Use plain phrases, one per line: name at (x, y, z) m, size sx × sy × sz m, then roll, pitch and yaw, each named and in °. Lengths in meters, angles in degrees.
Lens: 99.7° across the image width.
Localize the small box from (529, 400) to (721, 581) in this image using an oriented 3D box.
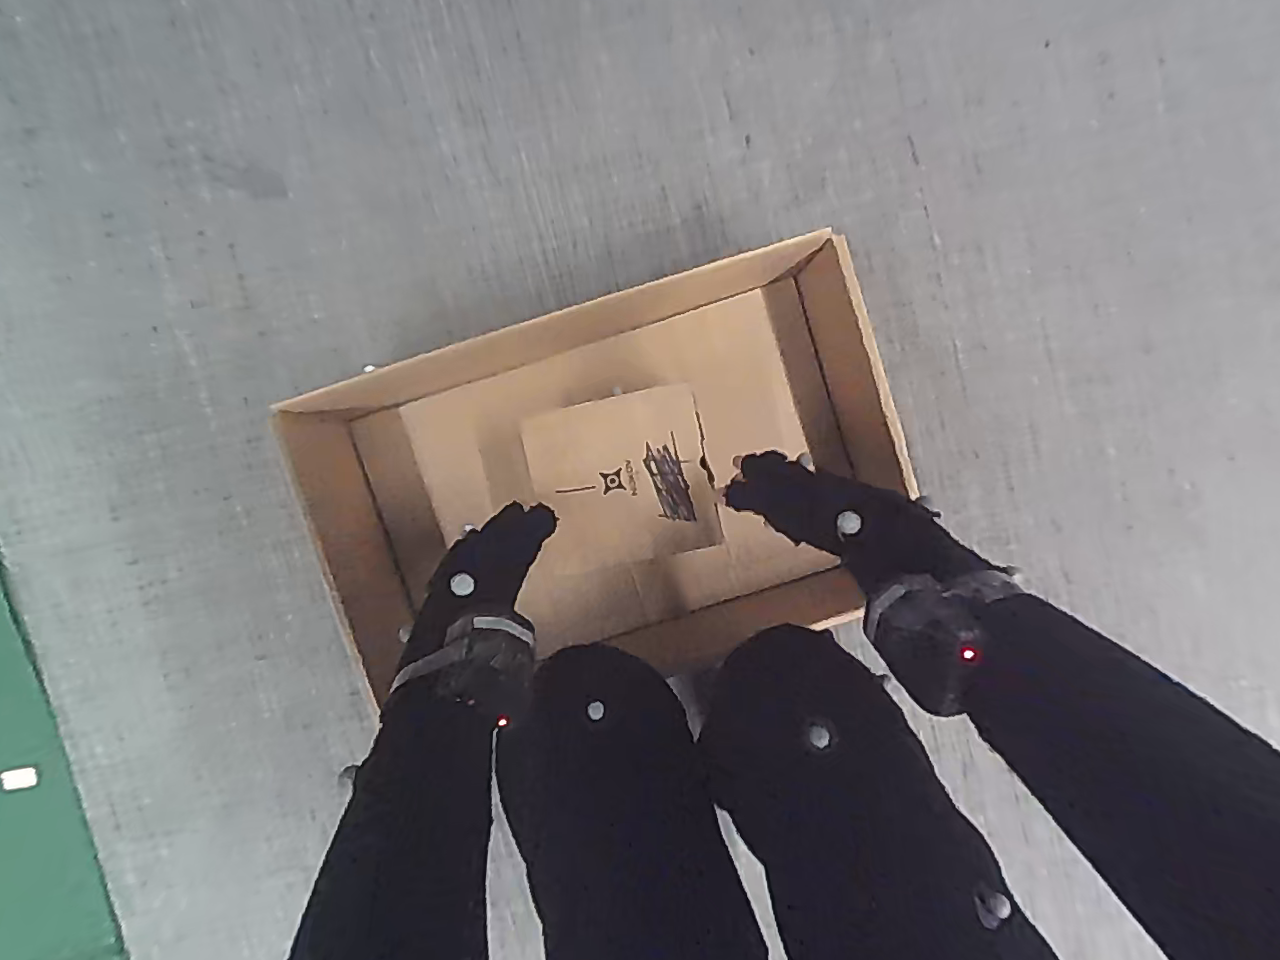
small box at (-0.013, 0.007, 0.634) m, size 0.179 × 0.176 × 0.168 m, roll -11°, pitch 92°, yaw 3°
